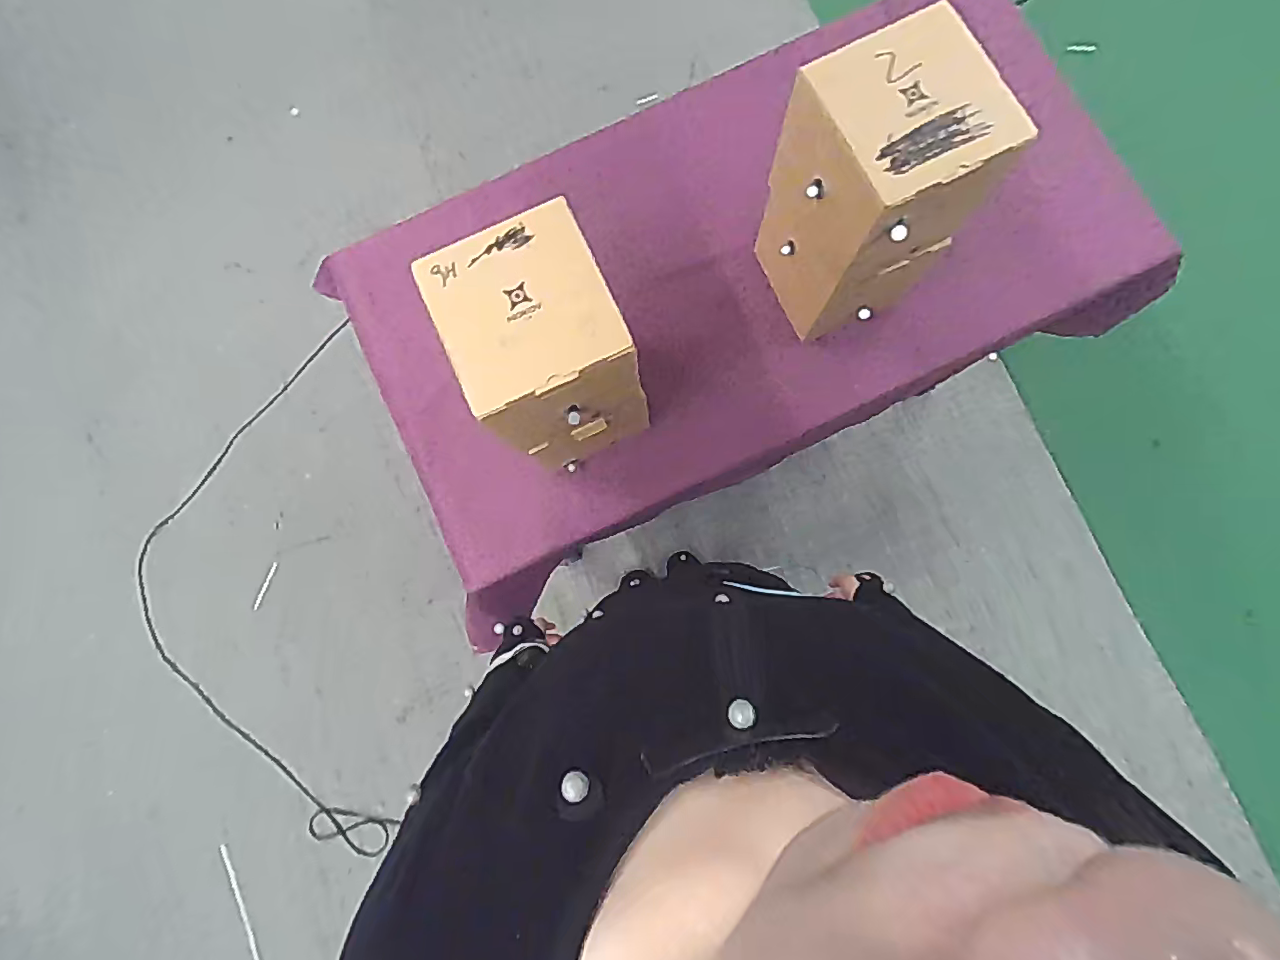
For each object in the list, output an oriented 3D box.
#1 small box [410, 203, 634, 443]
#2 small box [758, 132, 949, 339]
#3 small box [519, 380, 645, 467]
[{"bbox_3d":[-0.113,-0.152,0.594,0.168,0.176,0.179,-25,82,-1],"label":"small box"},{"bbox_3d":[0.283,-0.332,0.765,0.168,0.176,0.179,-24,82,0],"label":"small box"},{"bbox_3d":[-0.101,-0.130,0.757,0.168,0.176,0.179,-27,81,-1],"label":"small box"}]
